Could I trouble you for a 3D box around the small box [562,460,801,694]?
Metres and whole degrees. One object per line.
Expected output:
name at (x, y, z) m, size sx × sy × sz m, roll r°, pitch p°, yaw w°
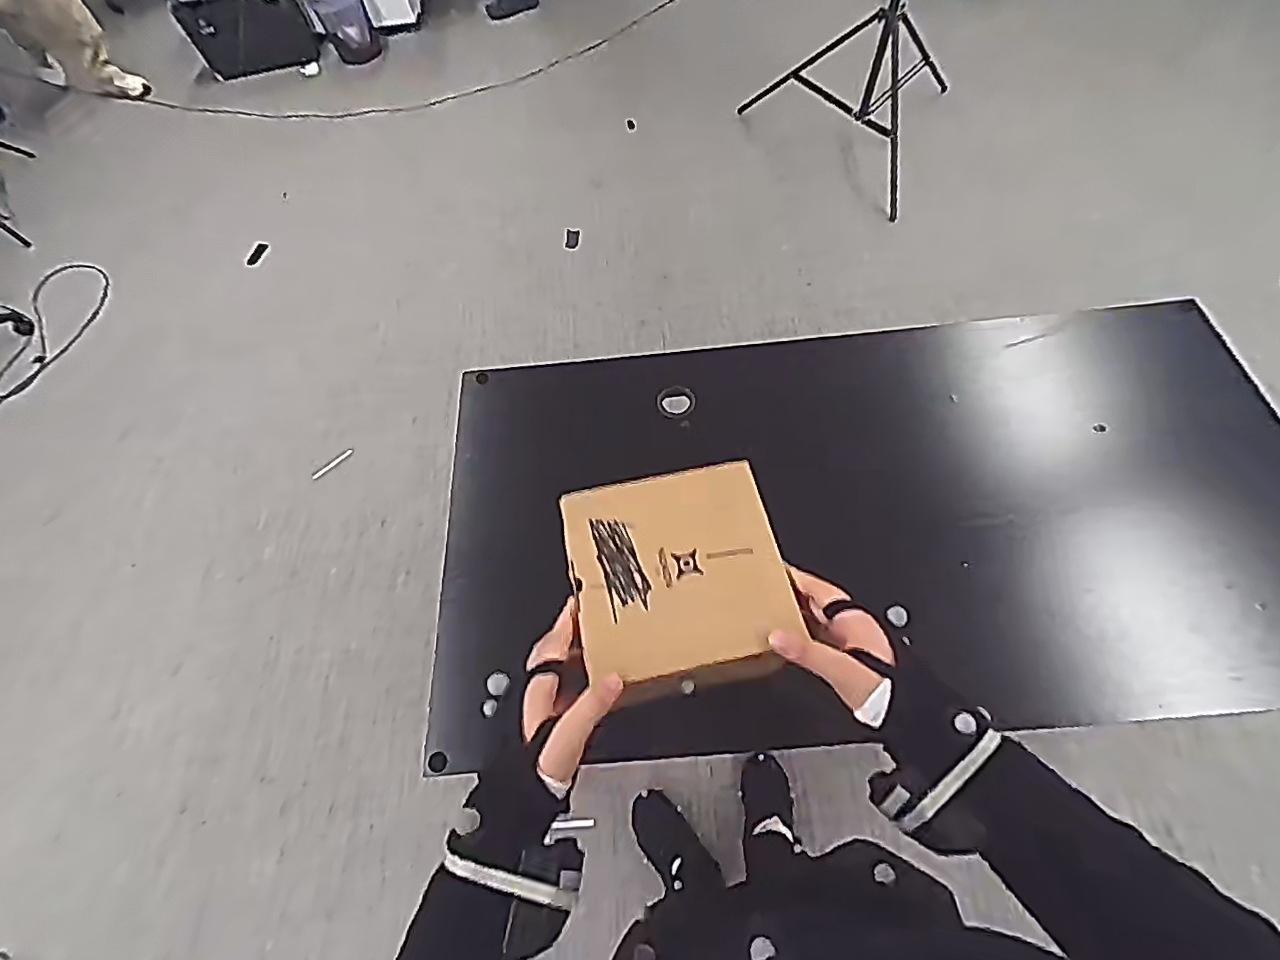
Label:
small box at (0.032, 0.103, 0.529) m, size 0.179 × 0.176 × 0.168 m, roll -11°, pitch 65°, yaw -4°
